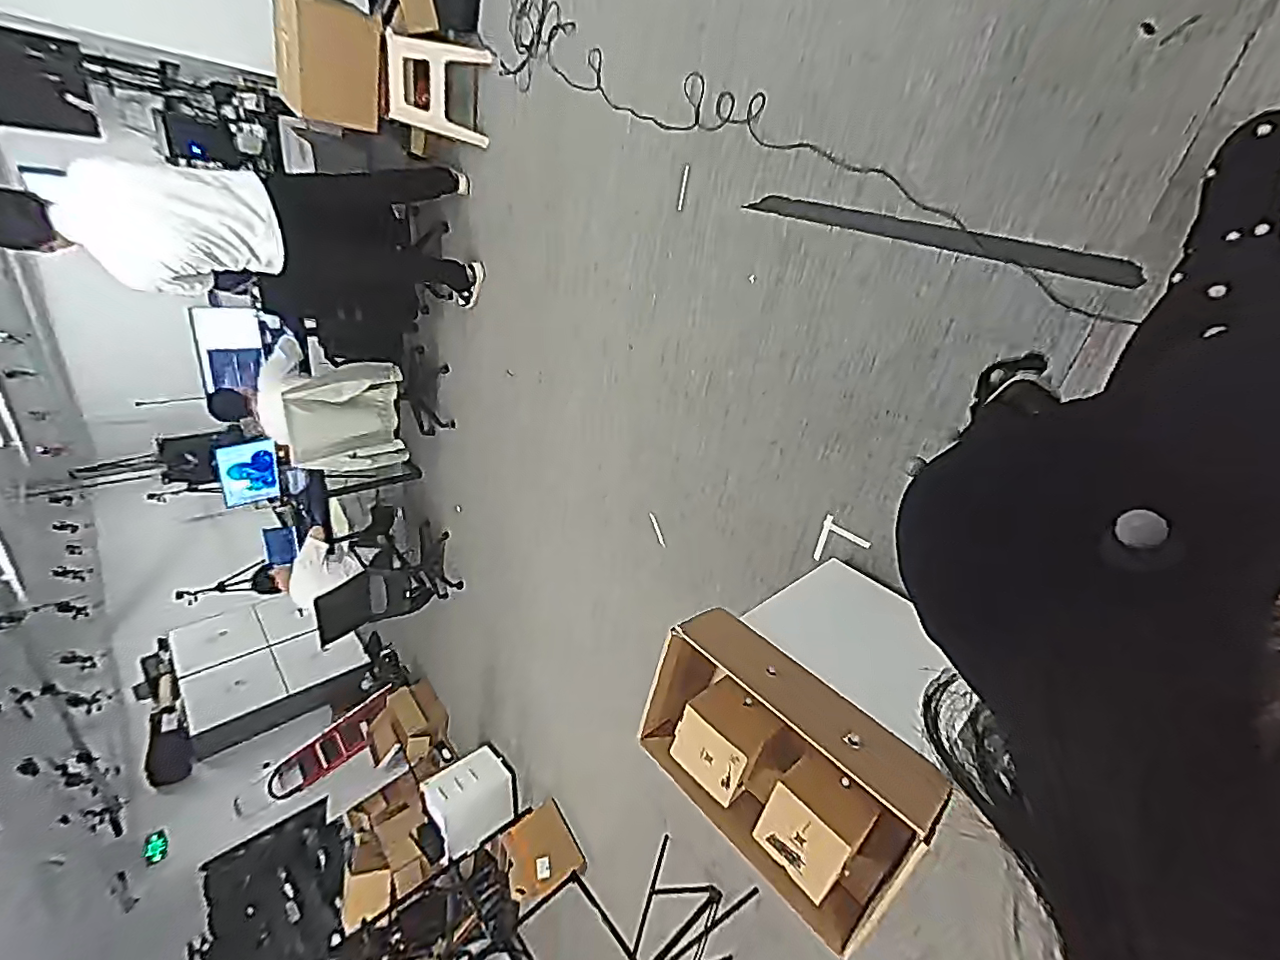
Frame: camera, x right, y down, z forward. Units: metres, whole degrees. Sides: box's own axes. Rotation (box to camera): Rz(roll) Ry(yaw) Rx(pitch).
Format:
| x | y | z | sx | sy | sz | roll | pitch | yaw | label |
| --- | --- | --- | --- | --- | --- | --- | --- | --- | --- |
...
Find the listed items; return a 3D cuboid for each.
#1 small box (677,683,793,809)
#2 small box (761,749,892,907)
| x | y | z | sx | sy | sz | roll | pitch | yaw | label |
| --- | --- | --- | --- | --- | --- | --- | --- | --- | --- |
| 0.220 | 0.601 | 1.253 | 0.179 | 0.176 | 0.168 | 32 | 120 | 36 | small box |
| 0.382 | 0.697 | 1.101 | 0.168 | 0.176 | 0.179 | 33 | 119 | 38 | small box |
